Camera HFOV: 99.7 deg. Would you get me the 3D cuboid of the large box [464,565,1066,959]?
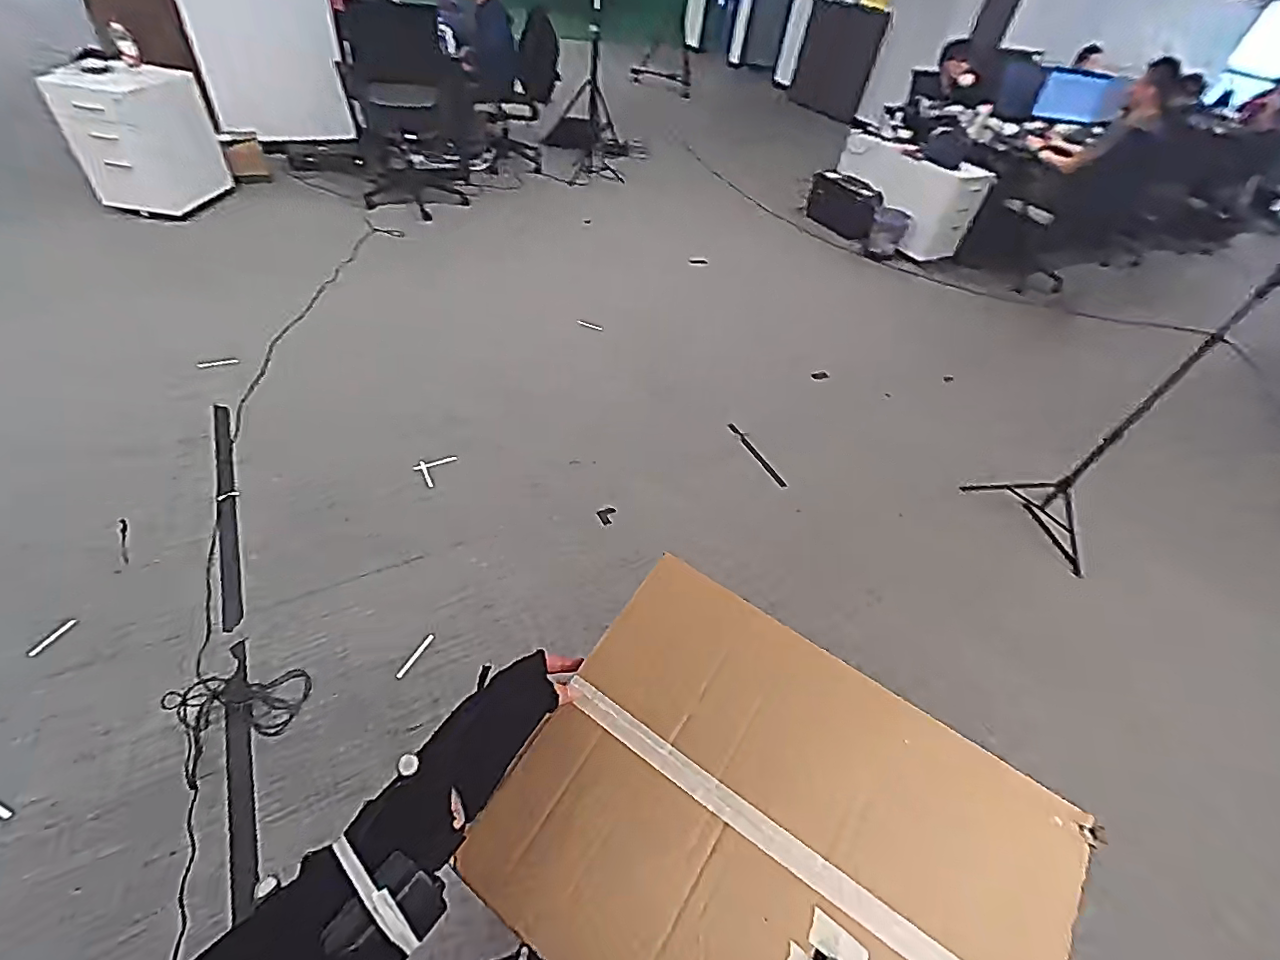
[{"bbox_3d":[0.102,0.363,0.562,0.408,0.320,0.320,31,63,18],"label":"large box"}]
